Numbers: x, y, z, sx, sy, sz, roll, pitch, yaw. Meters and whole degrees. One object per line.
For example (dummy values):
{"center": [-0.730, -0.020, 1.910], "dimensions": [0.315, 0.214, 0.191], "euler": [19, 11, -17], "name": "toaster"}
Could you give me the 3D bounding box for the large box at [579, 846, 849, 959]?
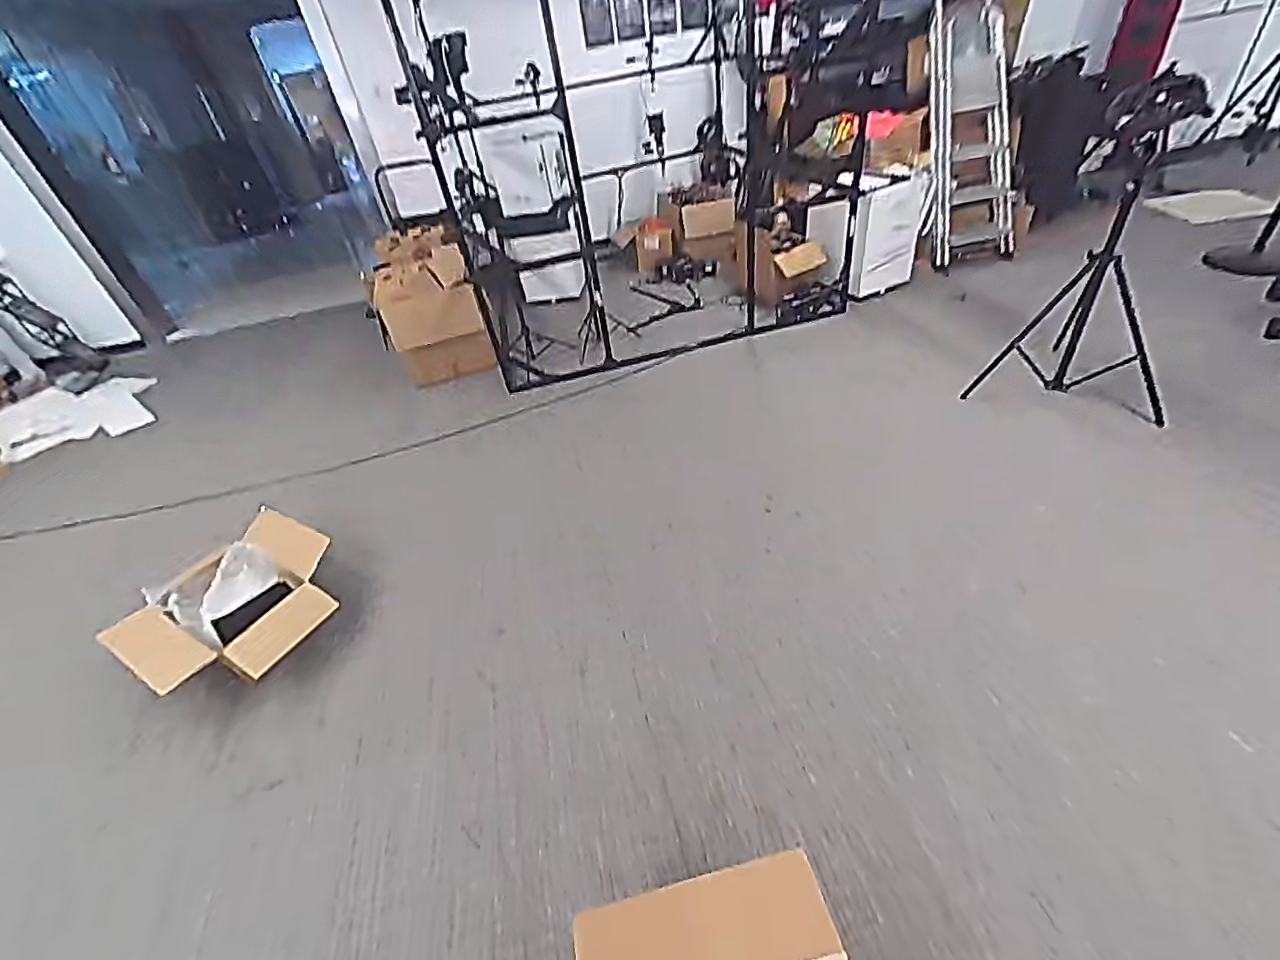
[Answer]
{"center": [0.141, 0.879, 0.882], "dimensions": [0.408, 0.320, 0.320], "euler": [-14, 39, -4], "name": "large box"}
